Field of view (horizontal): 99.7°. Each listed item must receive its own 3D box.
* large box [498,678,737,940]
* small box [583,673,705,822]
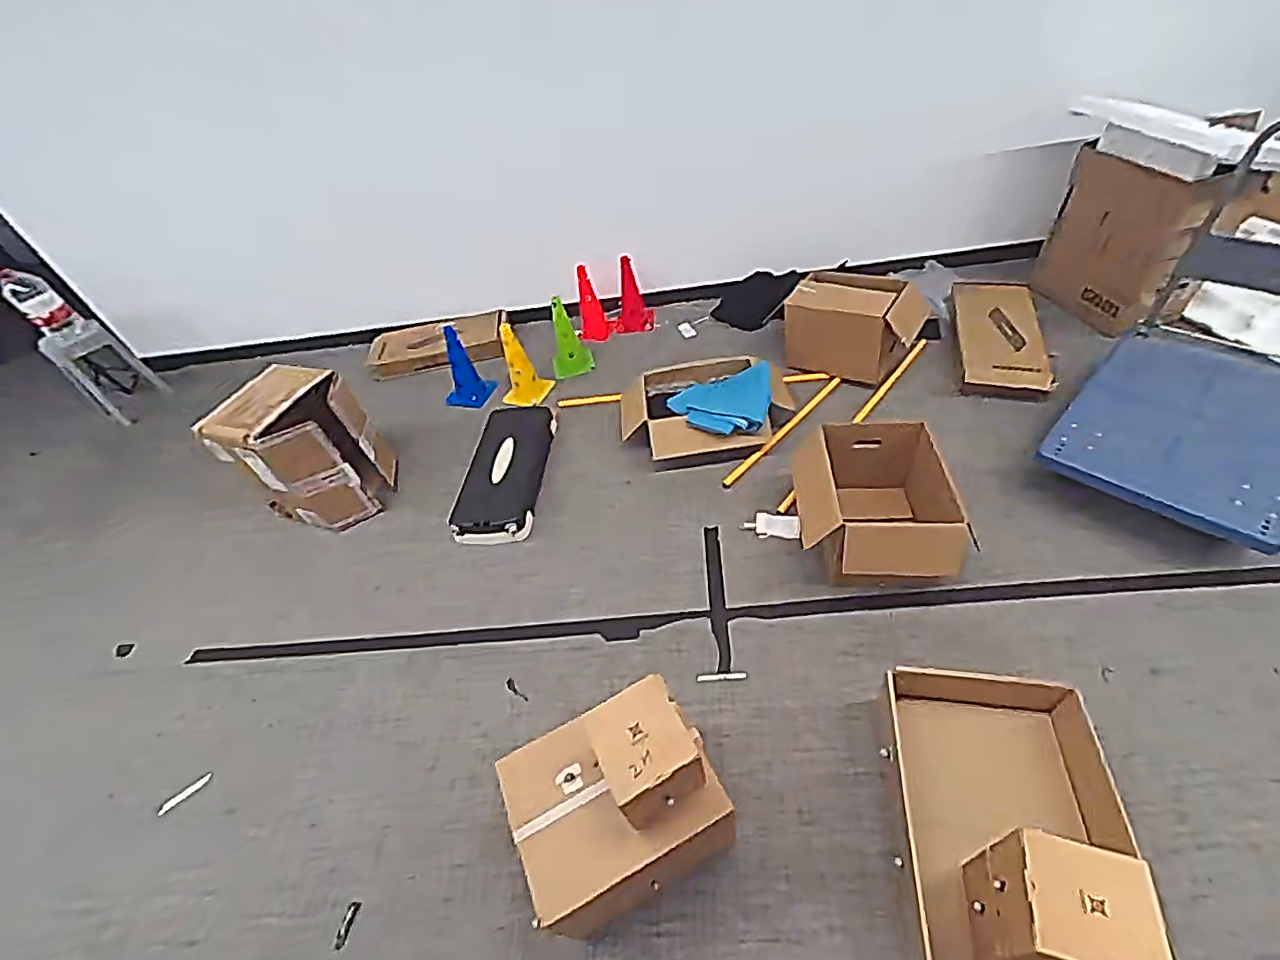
[{"bbox_3d":[-0.037,0.716,1.191,0.408,0.320,0.320,-26,46,-12],"label":"large box"},{"bbox_3d":[0.010,0.512,1.033,0.168,0.176,0.179,-26,48,-13],"label":"small box"}]
